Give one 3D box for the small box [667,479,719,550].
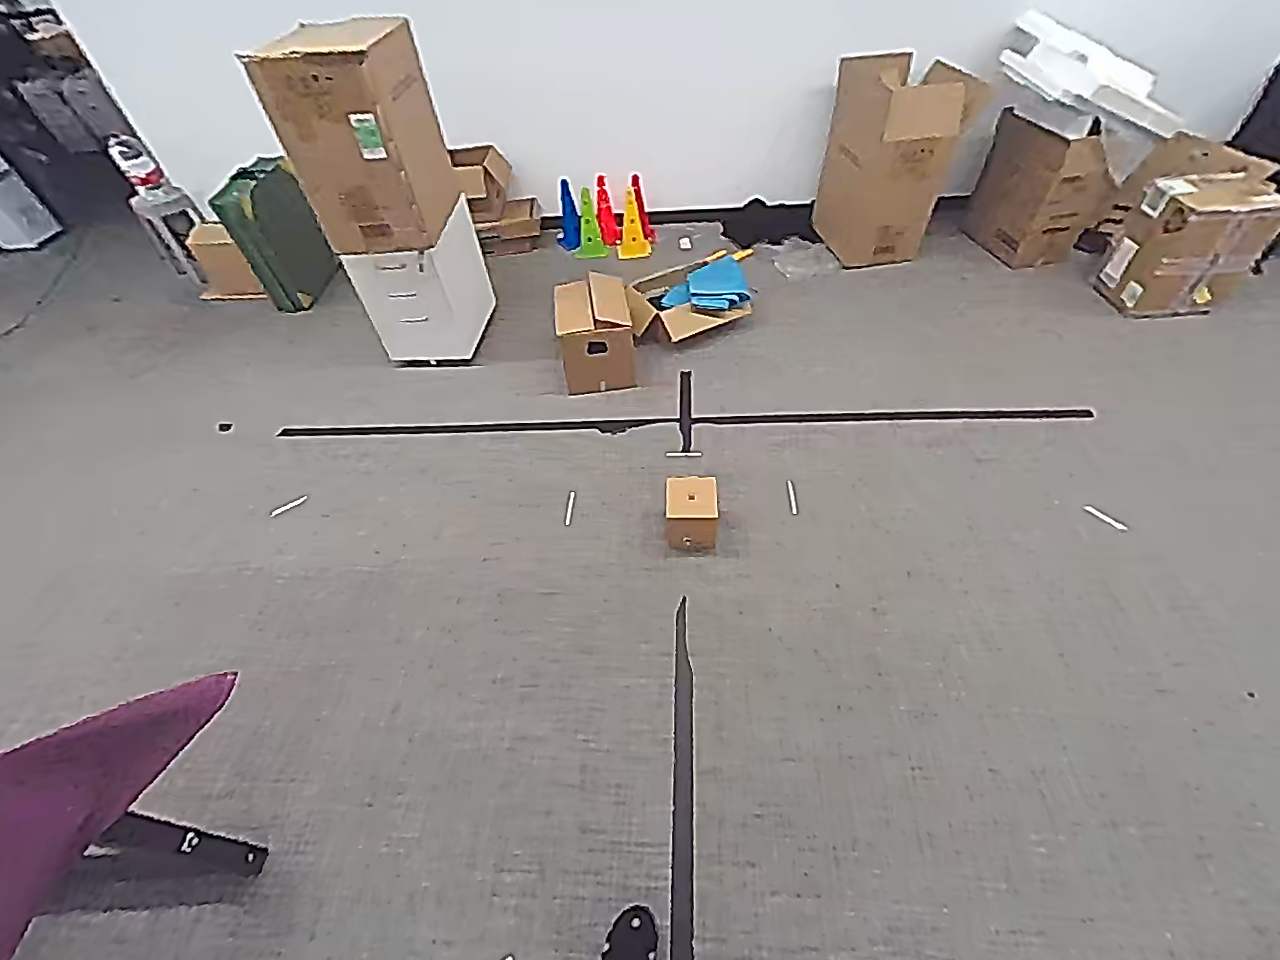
[{"bbox_3d":[0.177,0.116,1.817,0.168,0.176,0.179,-1,49,5],"label":"small box"}]
